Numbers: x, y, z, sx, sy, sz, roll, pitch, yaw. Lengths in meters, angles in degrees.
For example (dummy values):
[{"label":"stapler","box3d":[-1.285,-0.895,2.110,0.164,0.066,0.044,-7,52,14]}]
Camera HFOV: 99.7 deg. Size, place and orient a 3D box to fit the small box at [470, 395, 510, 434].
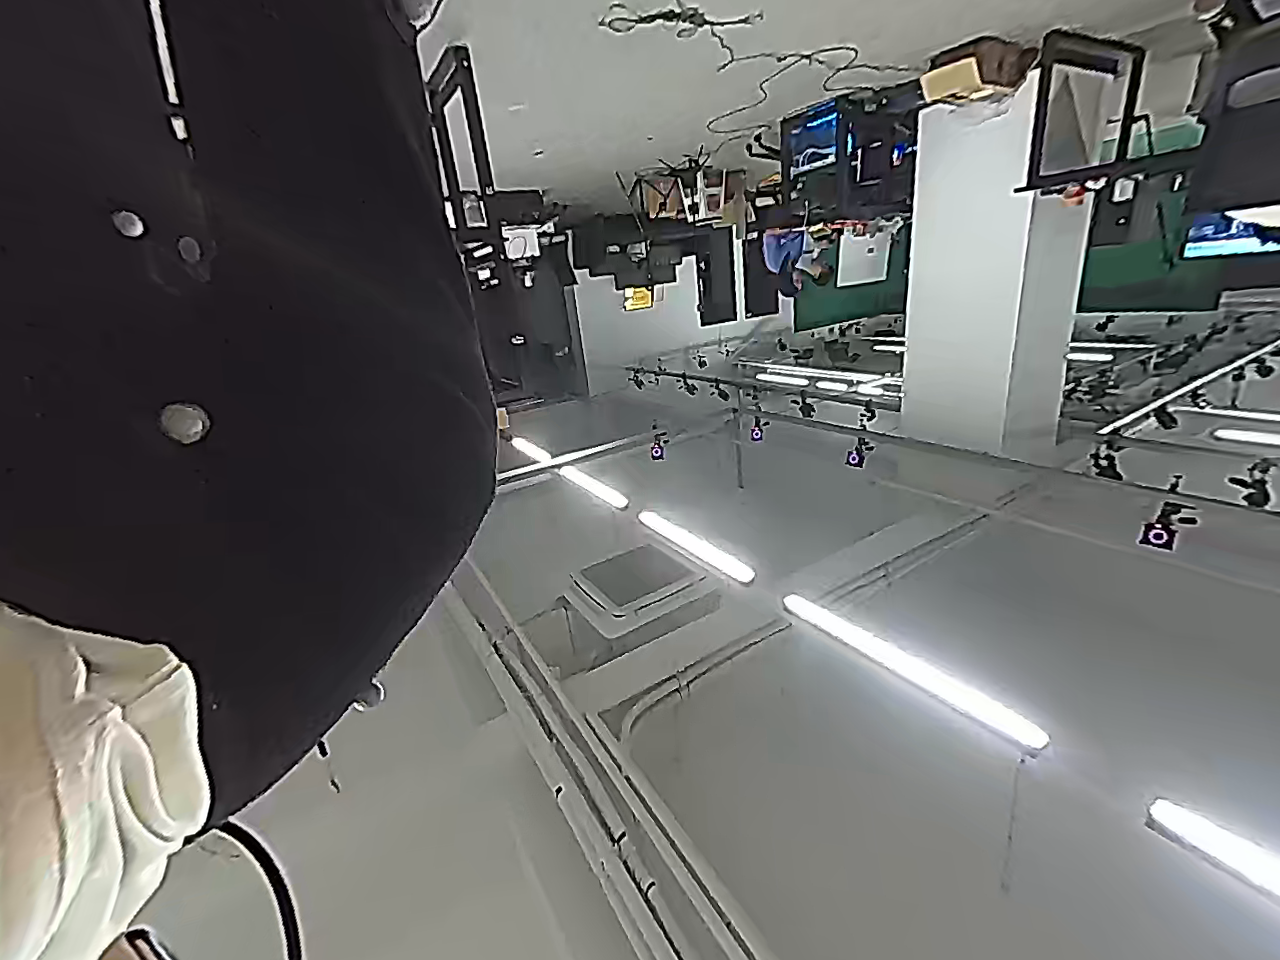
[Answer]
[{"label":"small box","box3d":[-0.817,-0.360,2.937,0.168,0.176,0.179,-15,-159,-19]}]
